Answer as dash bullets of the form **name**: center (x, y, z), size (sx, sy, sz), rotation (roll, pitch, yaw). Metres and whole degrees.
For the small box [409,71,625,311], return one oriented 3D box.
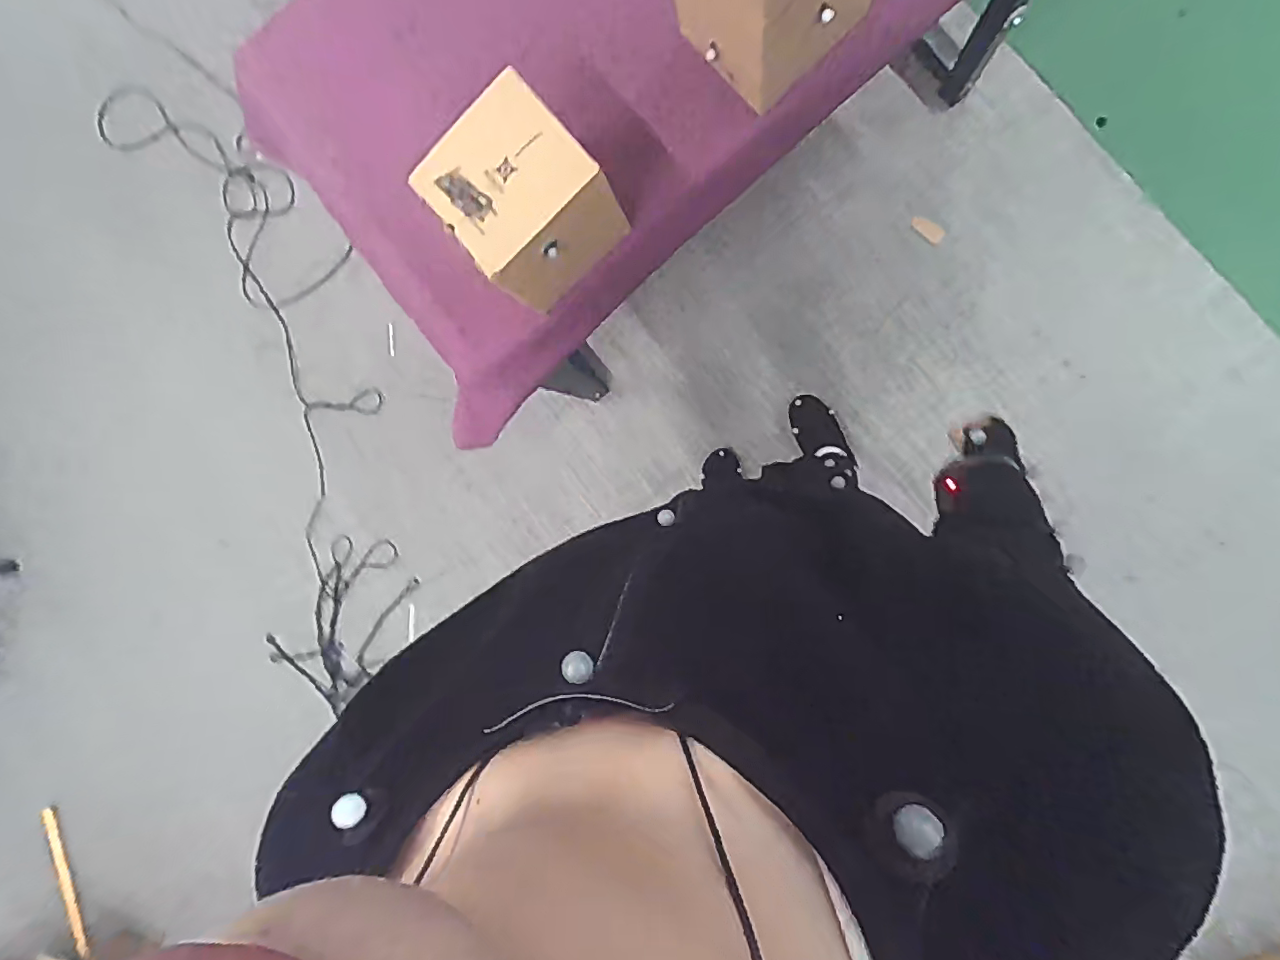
- **small box**: center (-0.143, -0.347, 0.691), size (0.179, 0.176, 0.168), rotation (-41, 84, 10)
